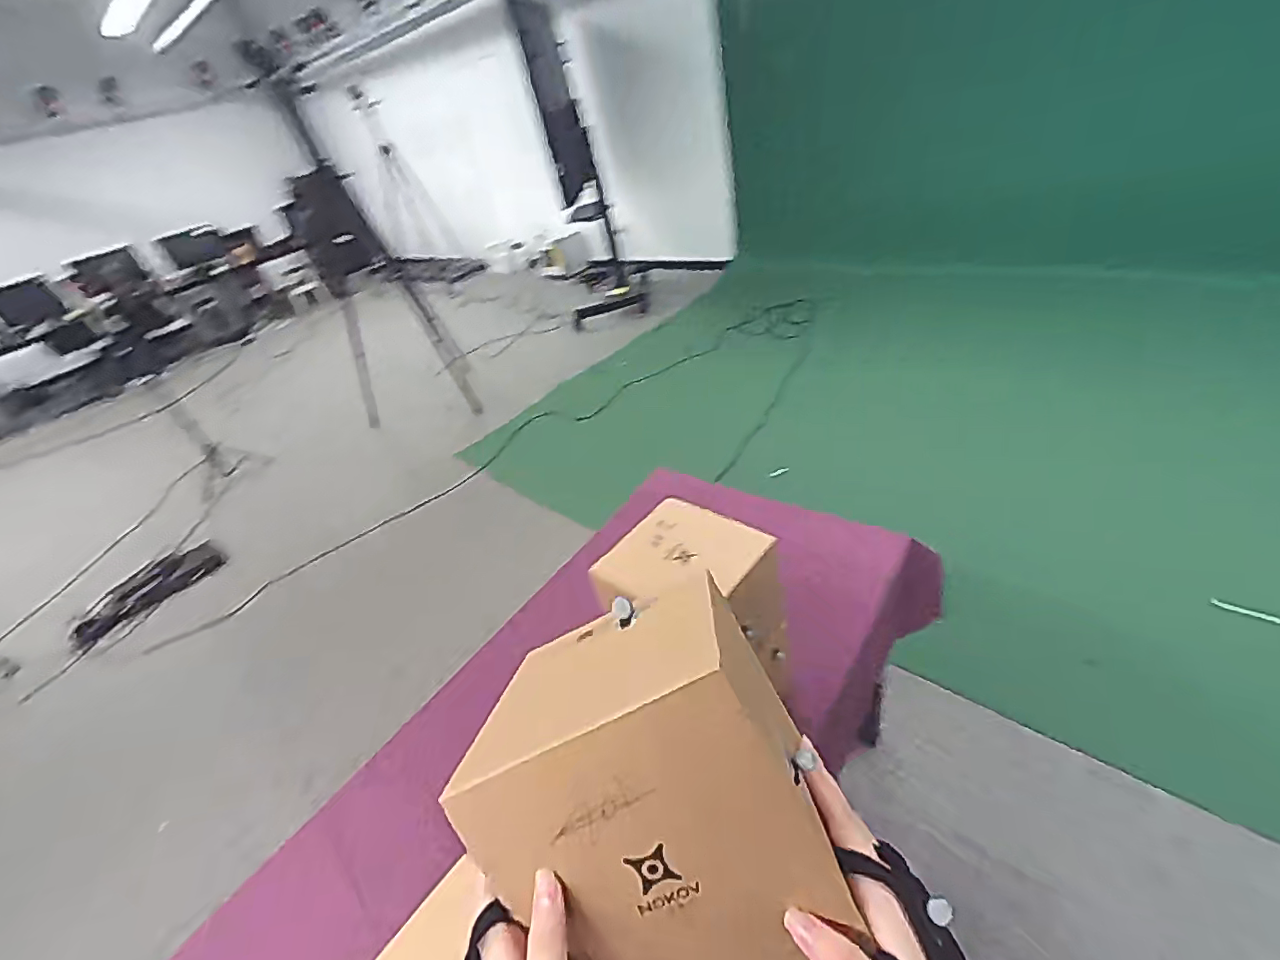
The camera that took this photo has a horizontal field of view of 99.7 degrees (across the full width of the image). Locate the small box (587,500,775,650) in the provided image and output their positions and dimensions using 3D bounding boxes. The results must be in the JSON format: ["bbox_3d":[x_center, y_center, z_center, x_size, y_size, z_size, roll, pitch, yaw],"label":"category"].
[{"bbox_3d":[0.063,0.159,0.718,0.179,0.176,0.168,20,48,40],"label":"small box"}]

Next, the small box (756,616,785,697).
[{"bbox_3d":[0.105,0.289,0.810,0.168,0.176,0.179,18,47,38],"label":"small box"}]

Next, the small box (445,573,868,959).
[{"bbox_3d":[0.016,0.189,0.356,0.168,0.179,0.176,-28,4,9],"label":"small box"}]
